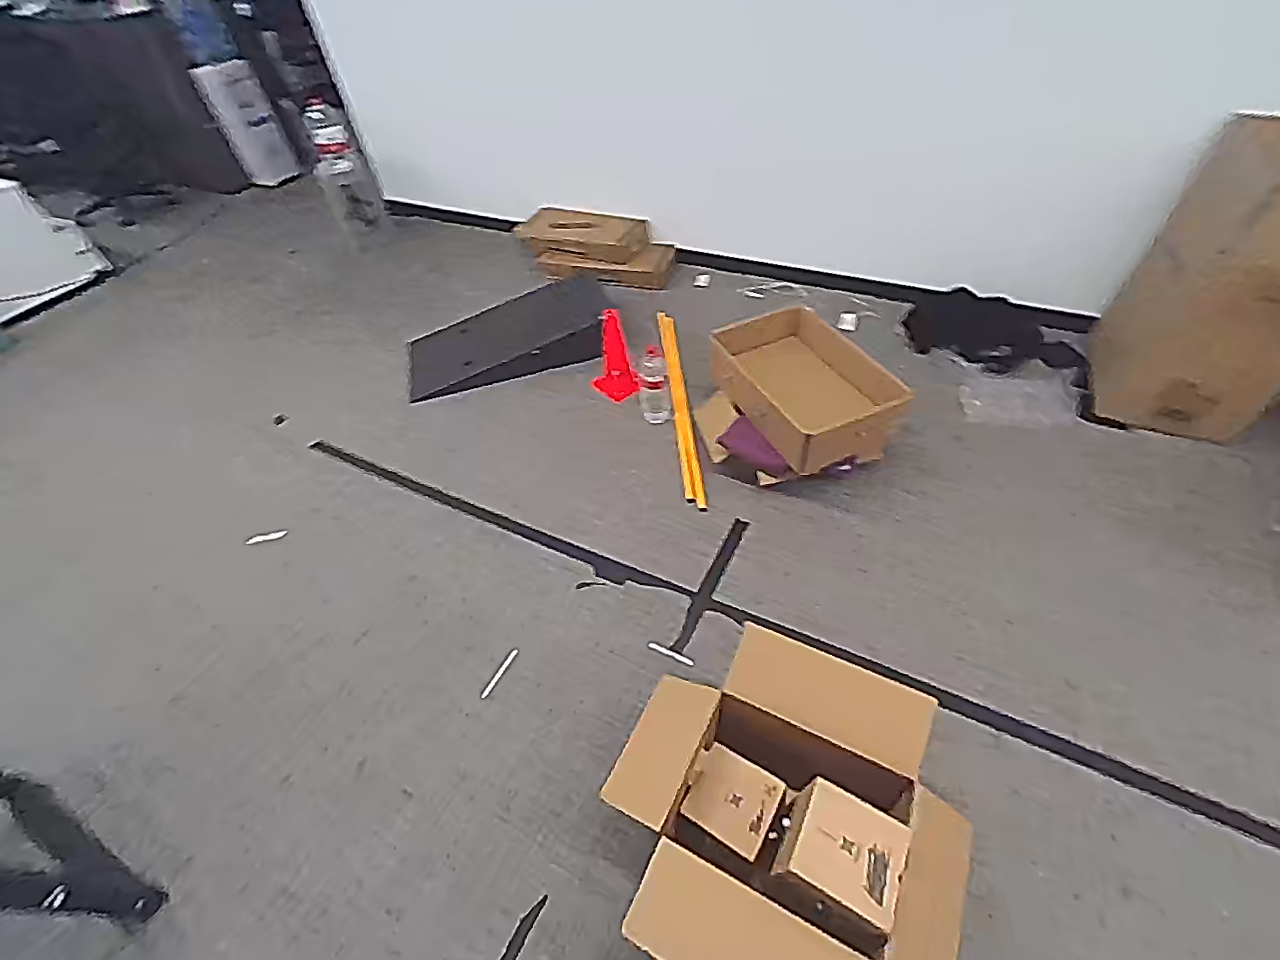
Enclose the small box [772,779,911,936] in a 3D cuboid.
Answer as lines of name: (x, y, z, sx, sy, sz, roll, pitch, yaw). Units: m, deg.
small box: (0.365, 0.693, 0.998, 0.179, 0.176, 0.168, 24, 54, 20)
